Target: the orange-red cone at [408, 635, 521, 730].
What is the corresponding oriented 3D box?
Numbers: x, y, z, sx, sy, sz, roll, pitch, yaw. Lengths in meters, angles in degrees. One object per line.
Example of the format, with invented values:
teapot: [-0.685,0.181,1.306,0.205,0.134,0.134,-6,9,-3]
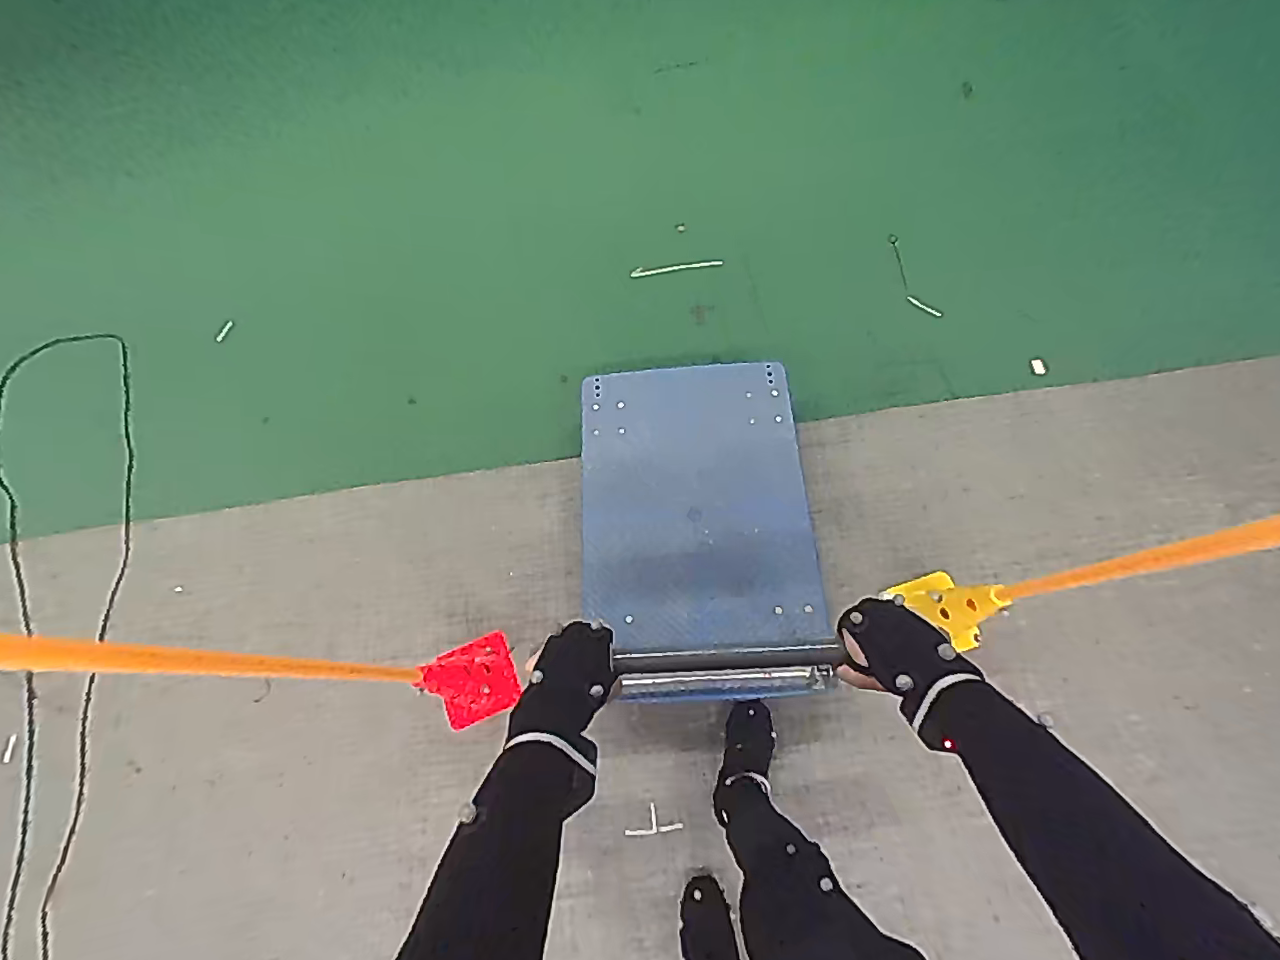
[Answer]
orange-red cone: [-0.439,0.469,1.262,0.199,0.360,0.198,-23,68,-2]
